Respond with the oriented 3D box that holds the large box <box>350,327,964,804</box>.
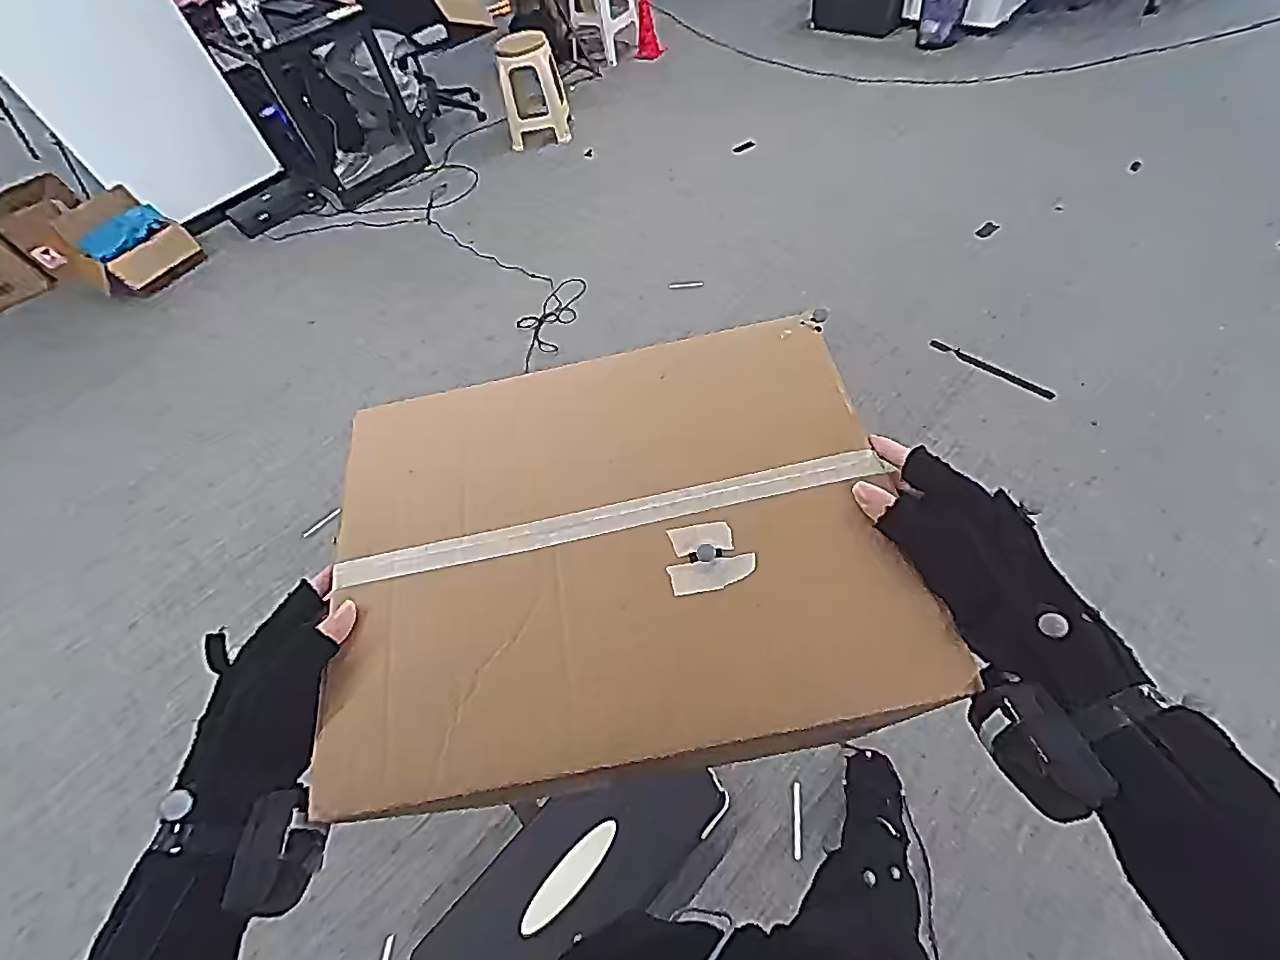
[{"bbox_3d":[0.000,0.105,0.539,0.408,0.320,0.320,-12,60,1],"label":"large box"}]
